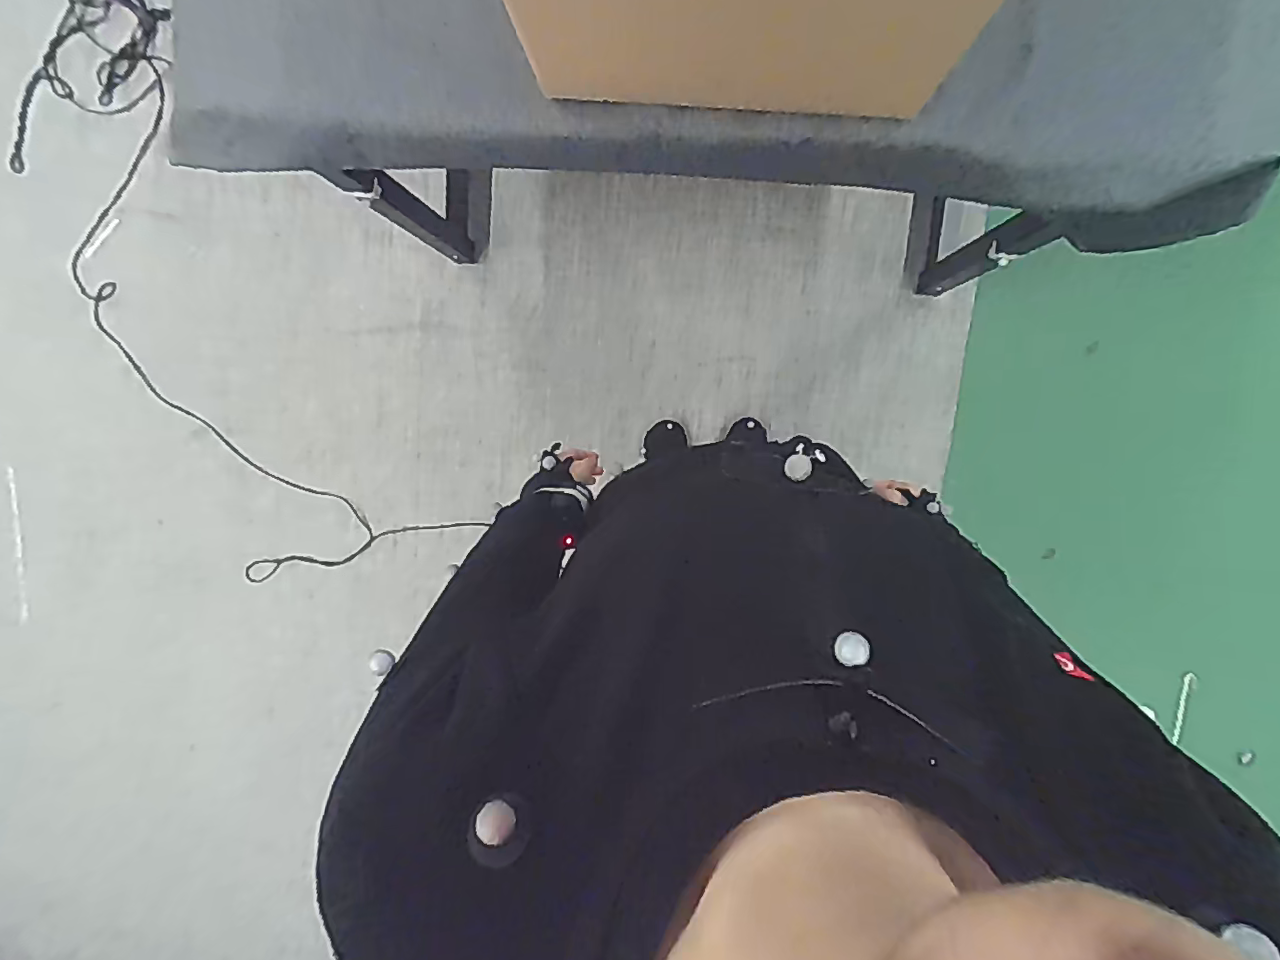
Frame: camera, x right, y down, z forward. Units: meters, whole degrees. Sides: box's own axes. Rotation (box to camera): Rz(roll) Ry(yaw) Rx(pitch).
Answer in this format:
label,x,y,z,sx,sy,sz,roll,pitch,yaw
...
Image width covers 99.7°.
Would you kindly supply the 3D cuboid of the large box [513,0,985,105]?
label,x,y,z,sx,sy,sz,roll,pitch,yaw
large box,0.092,-0.546,0.424,0.408,0.320,0.320,5,96,3
